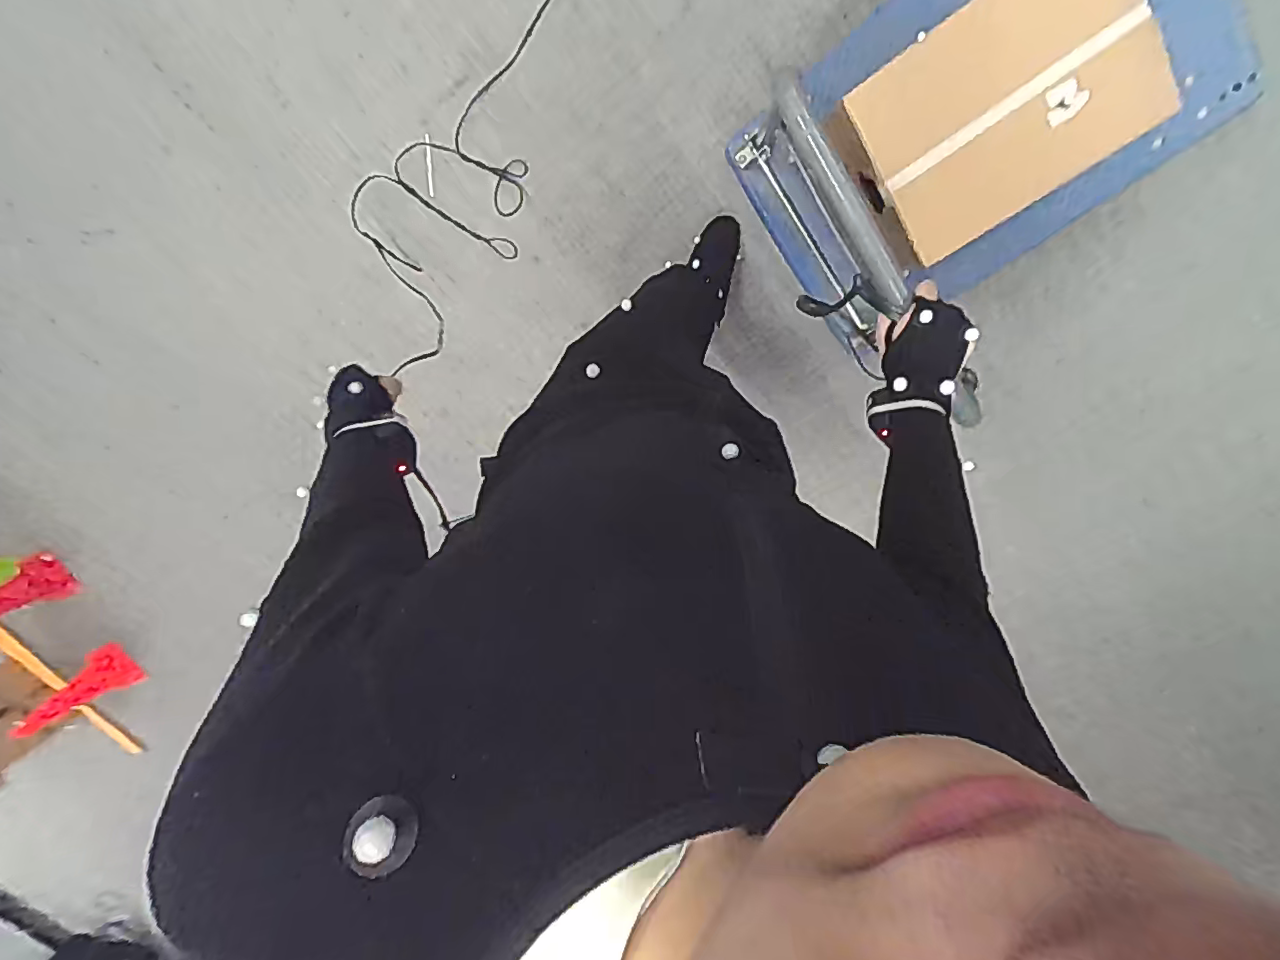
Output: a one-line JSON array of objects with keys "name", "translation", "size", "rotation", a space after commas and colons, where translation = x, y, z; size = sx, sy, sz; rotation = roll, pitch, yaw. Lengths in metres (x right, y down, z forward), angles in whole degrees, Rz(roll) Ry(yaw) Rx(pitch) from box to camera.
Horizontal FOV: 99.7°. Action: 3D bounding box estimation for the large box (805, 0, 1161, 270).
[{"name": "large box", "translation": [0.578, -0.638, 0.997], "size": [0.408, 0.320, 0.320], "rotation": [-32, 106, 17]}]
